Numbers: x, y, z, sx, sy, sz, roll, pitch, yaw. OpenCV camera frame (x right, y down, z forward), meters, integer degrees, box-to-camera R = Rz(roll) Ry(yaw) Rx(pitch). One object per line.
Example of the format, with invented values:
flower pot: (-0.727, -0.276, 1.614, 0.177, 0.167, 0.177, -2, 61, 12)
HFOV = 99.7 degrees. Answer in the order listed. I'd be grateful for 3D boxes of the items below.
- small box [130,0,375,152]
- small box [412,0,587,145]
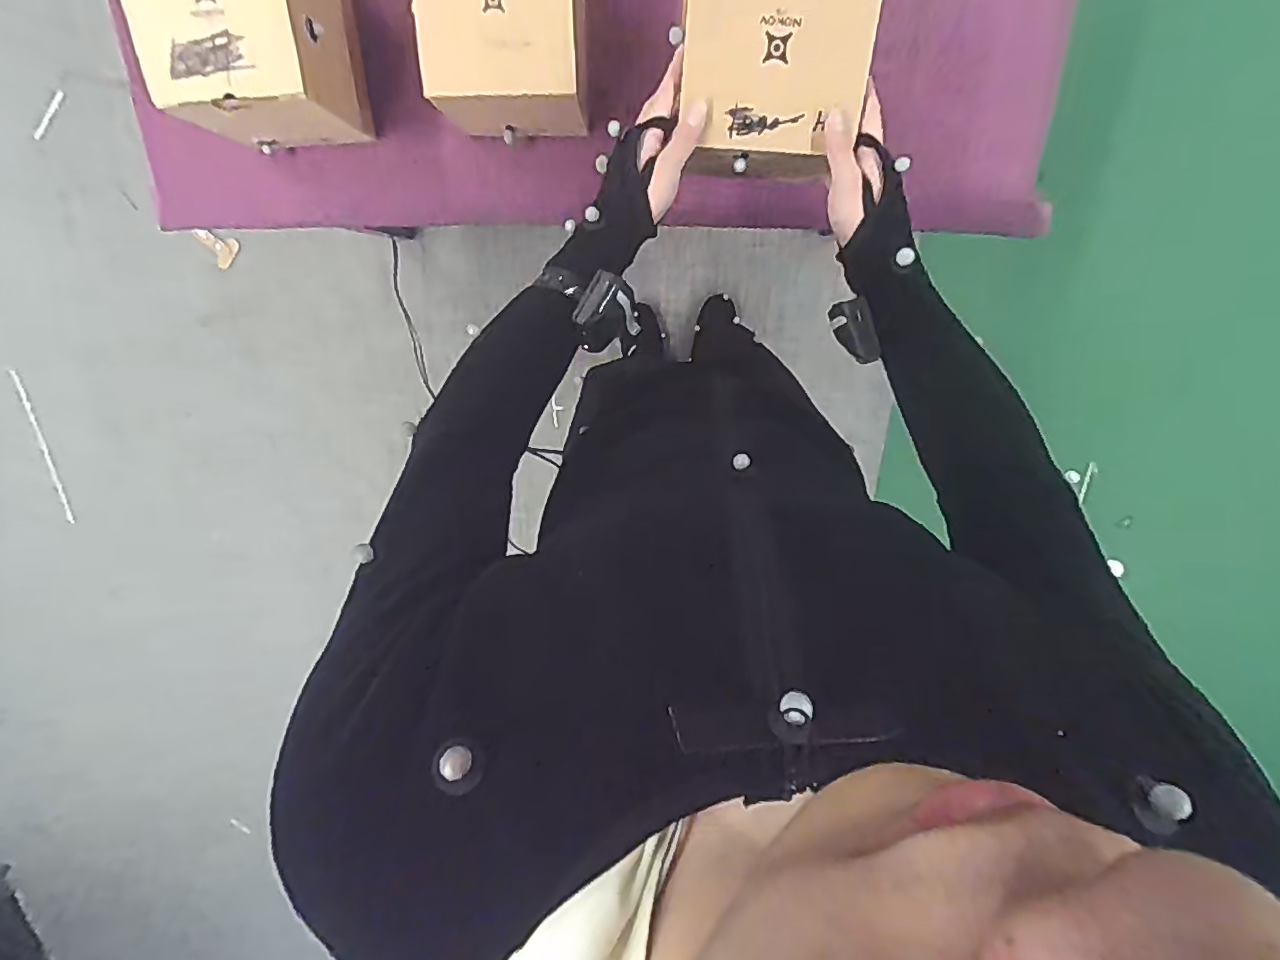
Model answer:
small box: (-0.440, -0.504, 0.635, 0.168, 0.176, 0.179, -3, 107, 1)
small box: (-0.153, -0.515, 0.634, 0.168, 0.176, 0.179, 0, 110, 1)
